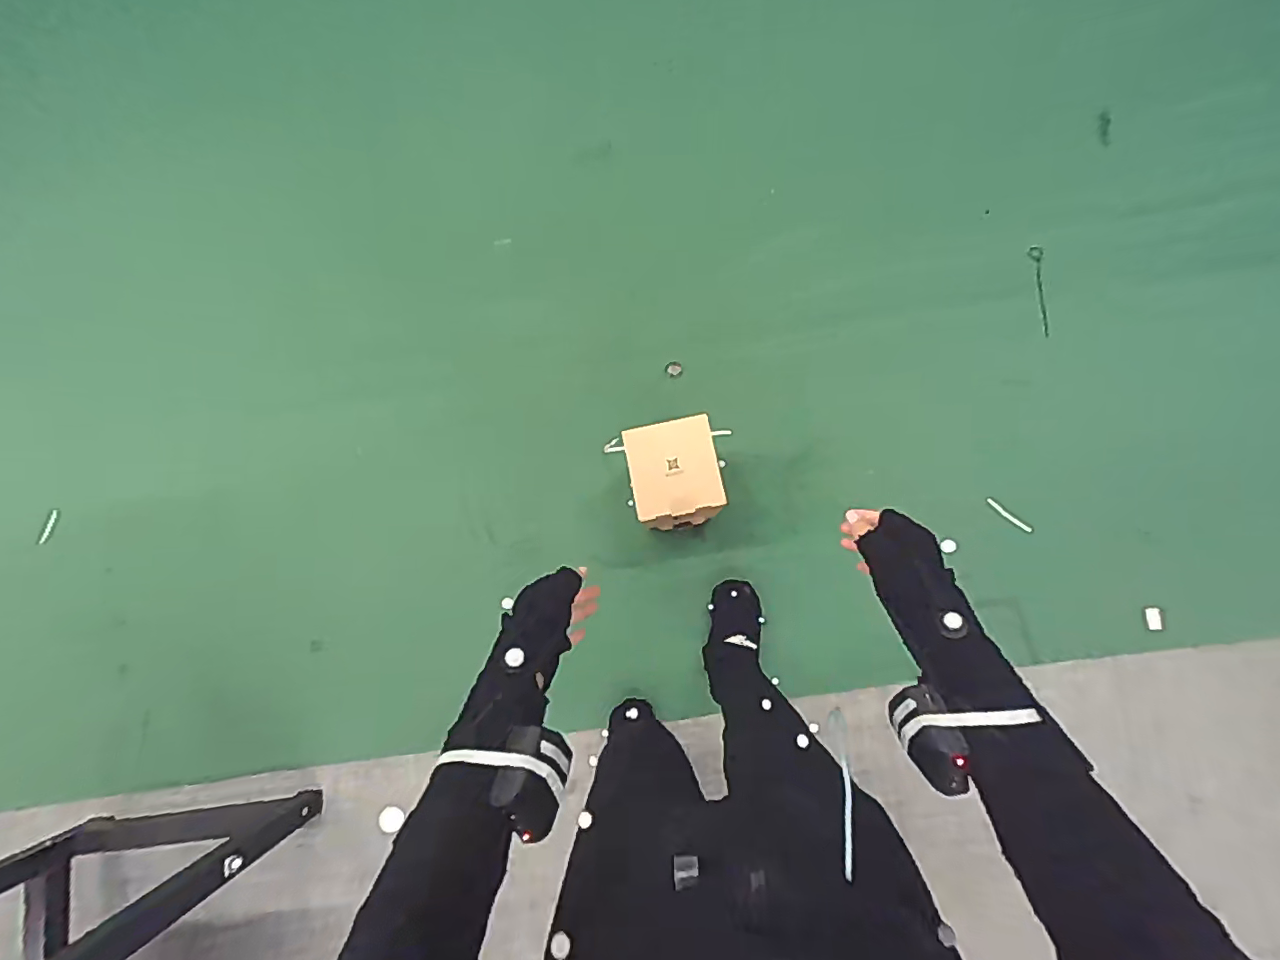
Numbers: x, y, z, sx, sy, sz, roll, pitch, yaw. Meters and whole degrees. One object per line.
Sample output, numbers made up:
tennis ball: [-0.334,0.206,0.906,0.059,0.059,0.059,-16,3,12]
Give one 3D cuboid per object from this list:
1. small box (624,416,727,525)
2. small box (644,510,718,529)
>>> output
small box: [0.068,-0.012,1.083,0.168,0.176,0.179,-12,83,2]
small box: [0.079,0.010,1.244,0.168,0.176,0.179,-10,81,3]
